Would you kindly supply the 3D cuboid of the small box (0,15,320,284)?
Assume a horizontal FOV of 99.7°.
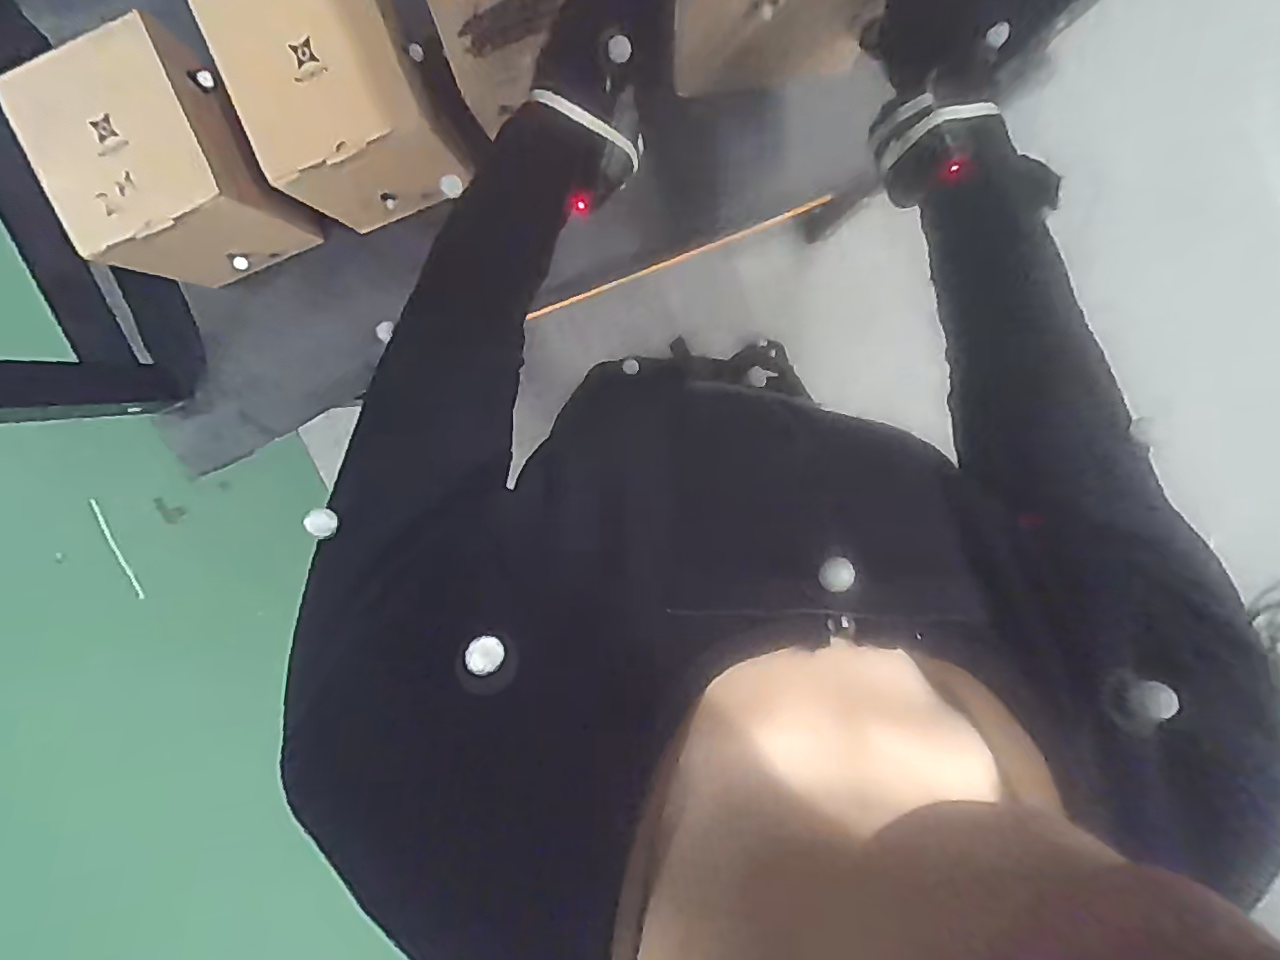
[{"bbox_3d":[-0.507,-0.343,0.601,0.168,0.176,0.179,-20,99,4],"label":"small box"}]
